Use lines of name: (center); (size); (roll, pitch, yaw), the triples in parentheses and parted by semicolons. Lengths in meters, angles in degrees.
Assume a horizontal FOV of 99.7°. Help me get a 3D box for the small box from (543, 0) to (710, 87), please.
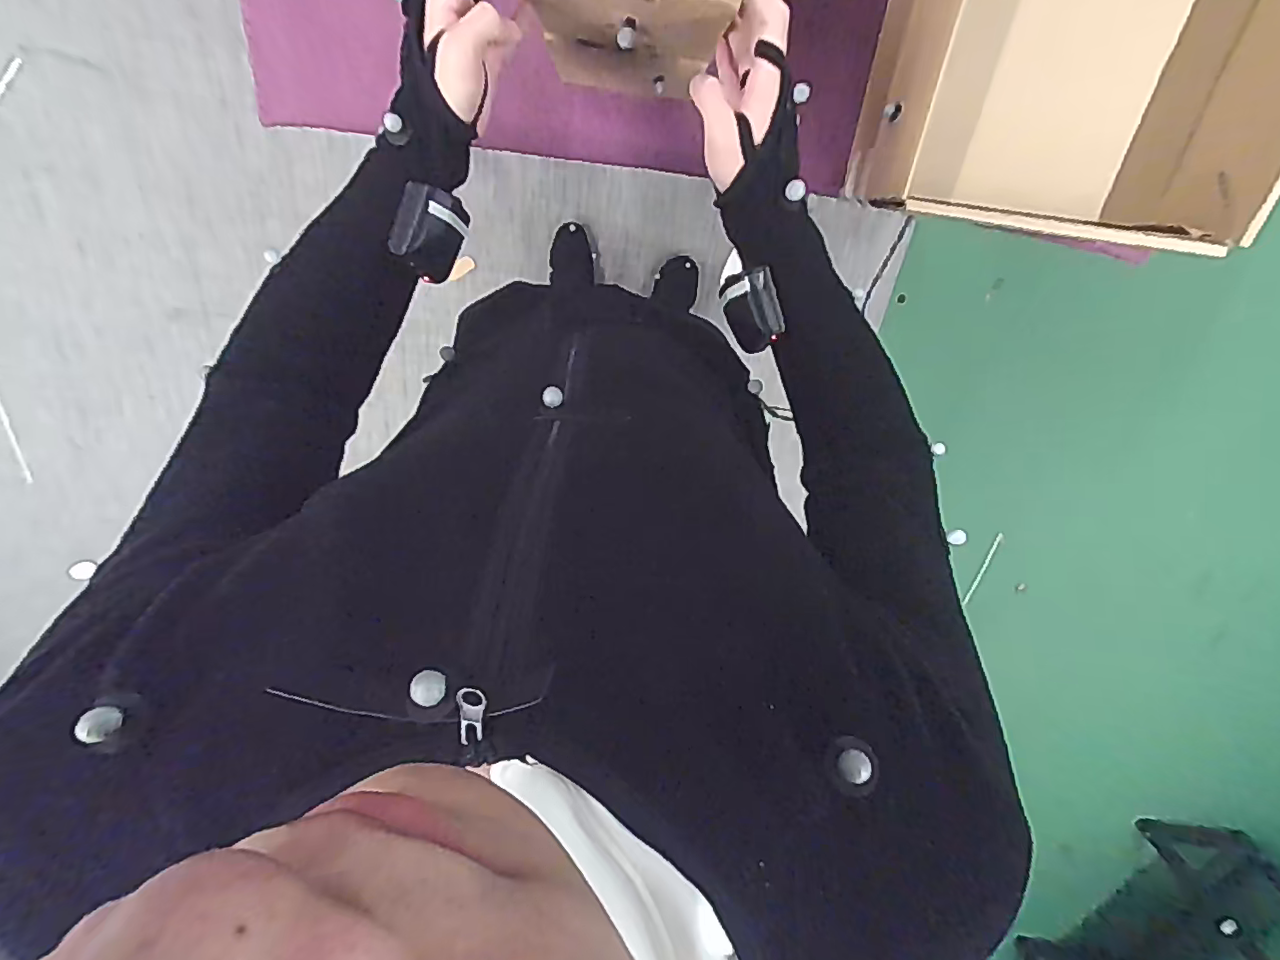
small box: (-0.002, -0.535, 0.559); (0.168, 0.176, 0.179); (6, 115, -5)

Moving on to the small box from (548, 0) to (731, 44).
small box: (0.004, -0.467, 0.411); (0.168, 0.176, 0.179); (6, 117, -5)
